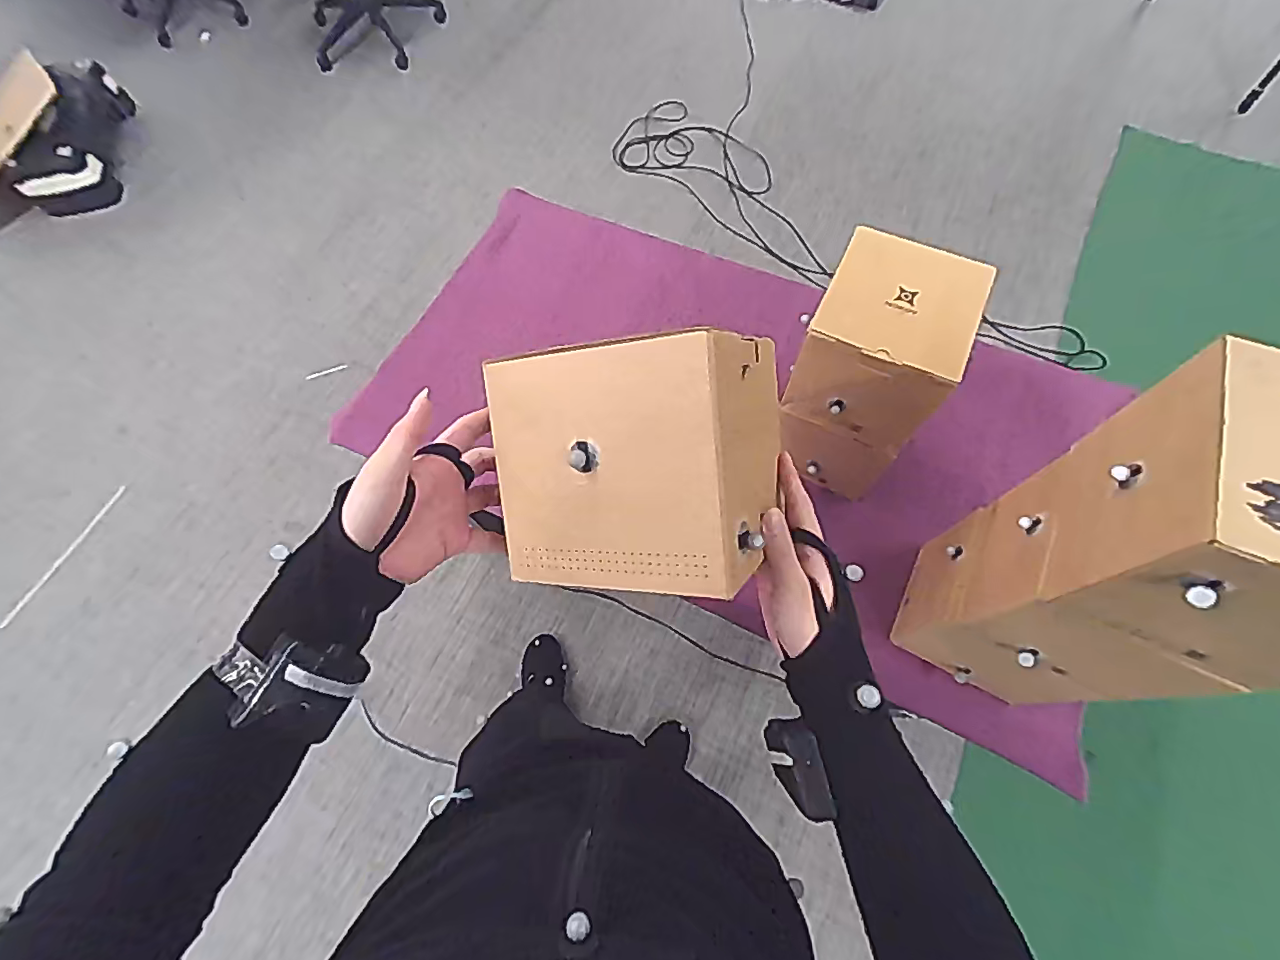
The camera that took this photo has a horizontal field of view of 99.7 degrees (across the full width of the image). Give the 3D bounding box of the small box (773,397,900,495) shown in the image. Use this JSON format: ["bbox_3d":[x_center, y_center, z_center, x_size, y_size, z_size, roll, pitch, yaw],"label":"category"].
[{"bbox_3d":[0.309,-0.107,0.831,0.168,0.176,0.179,27,71,13],"label":"small box"}]

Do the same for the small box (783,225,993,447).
[{"bbox_3d":[0.298,-0.173,0.683,0.168,0.176,0.179,25,71,11],"label":"small box"}]

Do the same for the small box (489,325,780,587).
[{"bbox_3d":[0.009,-0.022,0.433,0.179,0.168,0.176,-1,99,26],"label":"small box"}]

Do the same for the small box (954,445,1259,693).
[{"bbox_3d":[0.463,0.100,0.562,0.168,0.176,0.179,26,70,14],"label":"small box"}]

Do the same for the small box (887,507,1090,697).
[{"bbox_3d":[0.464,0.166,0.712,0.179,0.176,0.168,27,70,13],"label":"small box"}]
